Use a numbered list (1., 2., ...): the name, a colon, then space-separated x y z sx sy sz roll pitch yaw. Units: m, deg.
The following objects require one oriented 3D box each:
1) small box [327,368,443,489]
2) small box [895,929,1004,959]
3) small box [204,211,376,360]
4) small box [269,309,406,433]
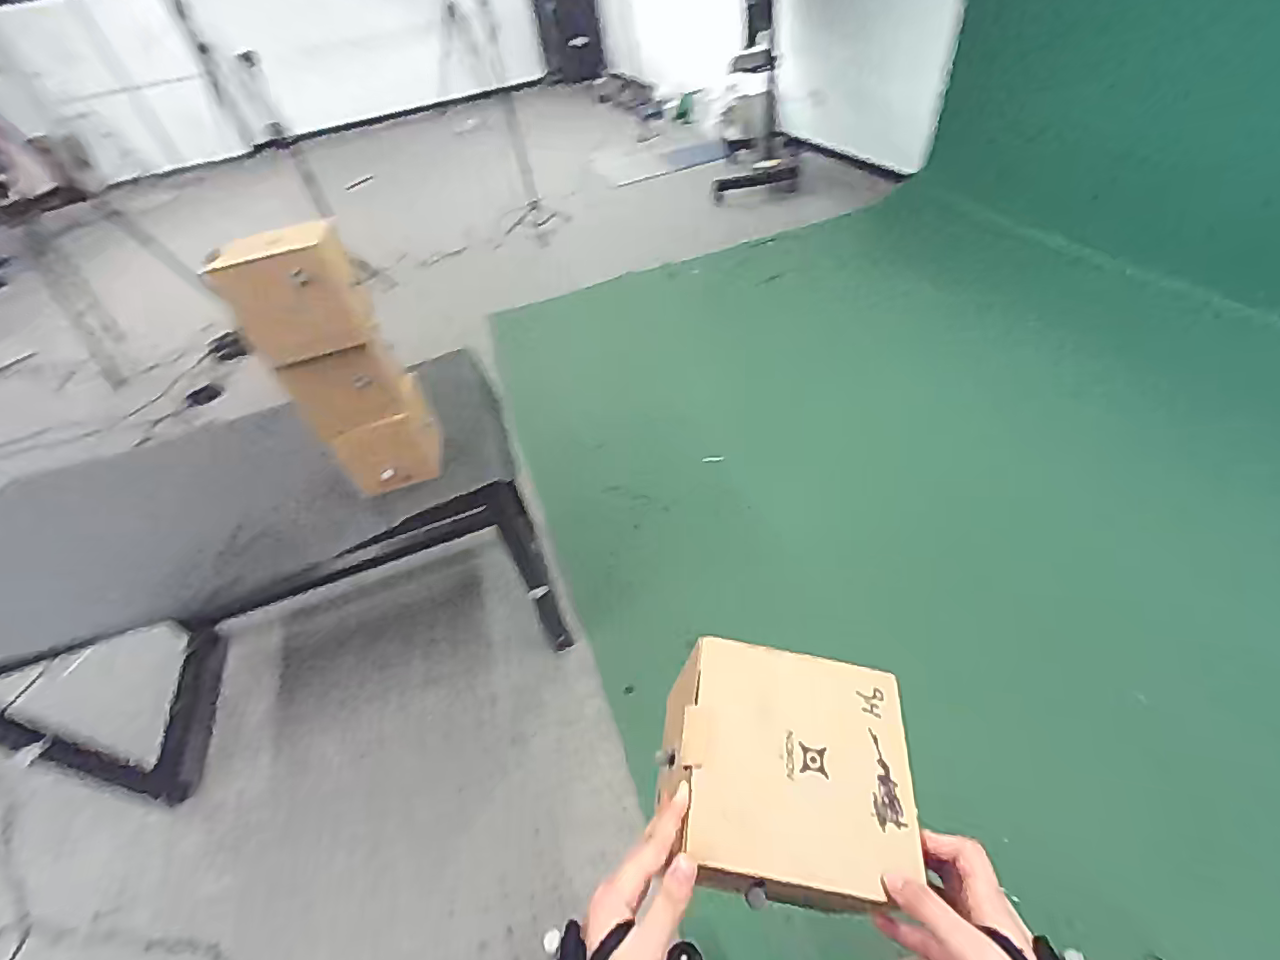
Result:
1. small box: -0.535 -0.109 1.160 0.168 0.176 0.179 -16 44 -4
2. small box: 0.576 0.936 0.958 0.168 0.176 0.179 -17 45 -5
3. small box: -0.577 -0.331 0.923 0.179 0.176 0.168 -18 42 -6
4. small box: -0.570 -0.222 1.049 0.179 0.176 0.168 -22 42 -9
